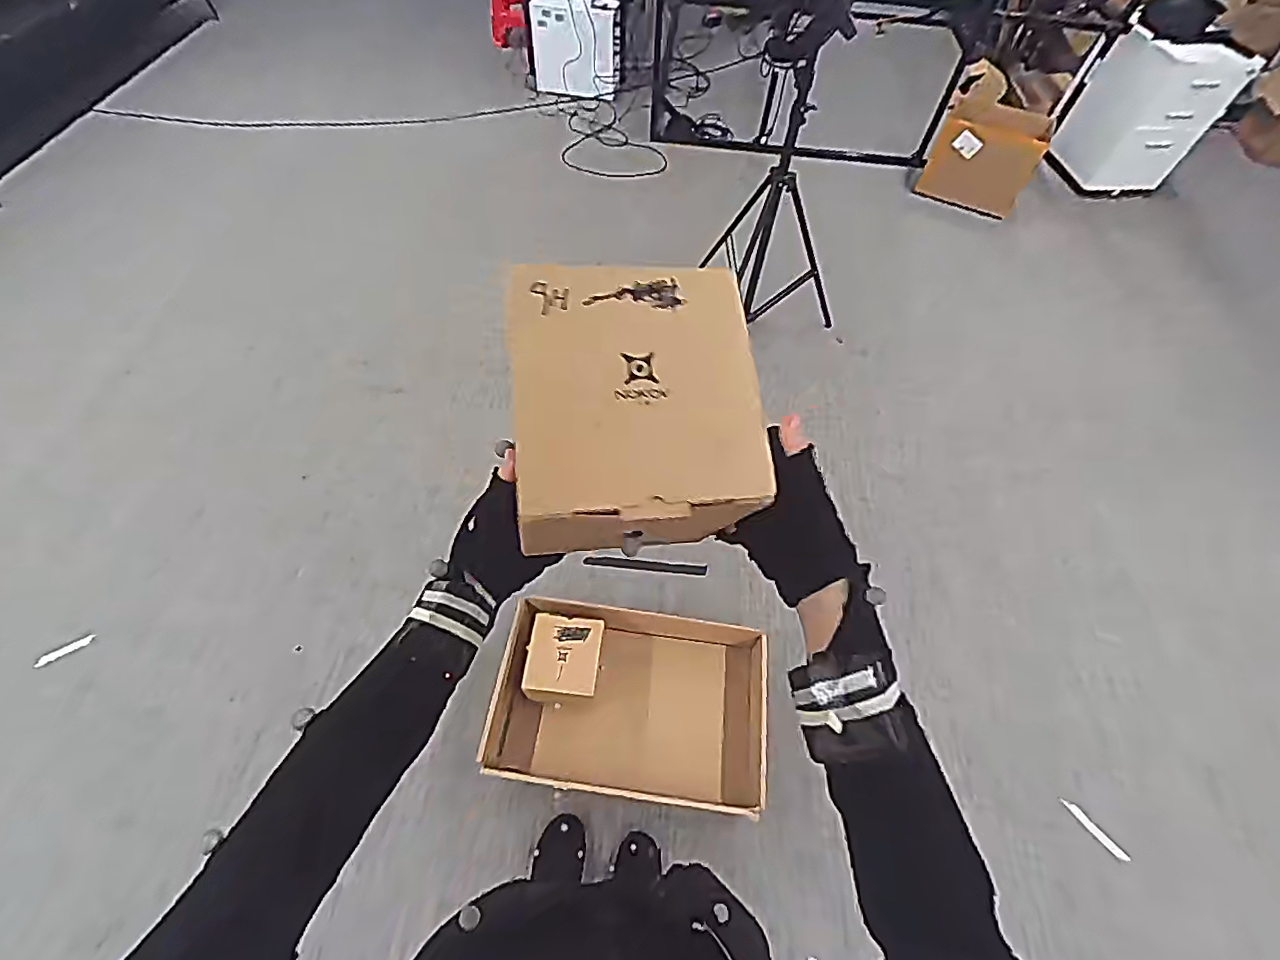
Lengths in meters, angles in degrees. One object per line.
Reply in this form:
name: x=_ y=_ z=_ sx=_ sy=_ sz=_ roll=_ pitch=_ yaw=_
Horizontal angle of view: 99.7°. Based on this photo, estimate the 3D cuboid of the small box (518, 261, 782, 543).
small box: x=-0.010 y=-0.046 z=0.434 sx=0.168 sy=0.176 sz=0.179 roll=-3 pitch=76 yaw=-15
